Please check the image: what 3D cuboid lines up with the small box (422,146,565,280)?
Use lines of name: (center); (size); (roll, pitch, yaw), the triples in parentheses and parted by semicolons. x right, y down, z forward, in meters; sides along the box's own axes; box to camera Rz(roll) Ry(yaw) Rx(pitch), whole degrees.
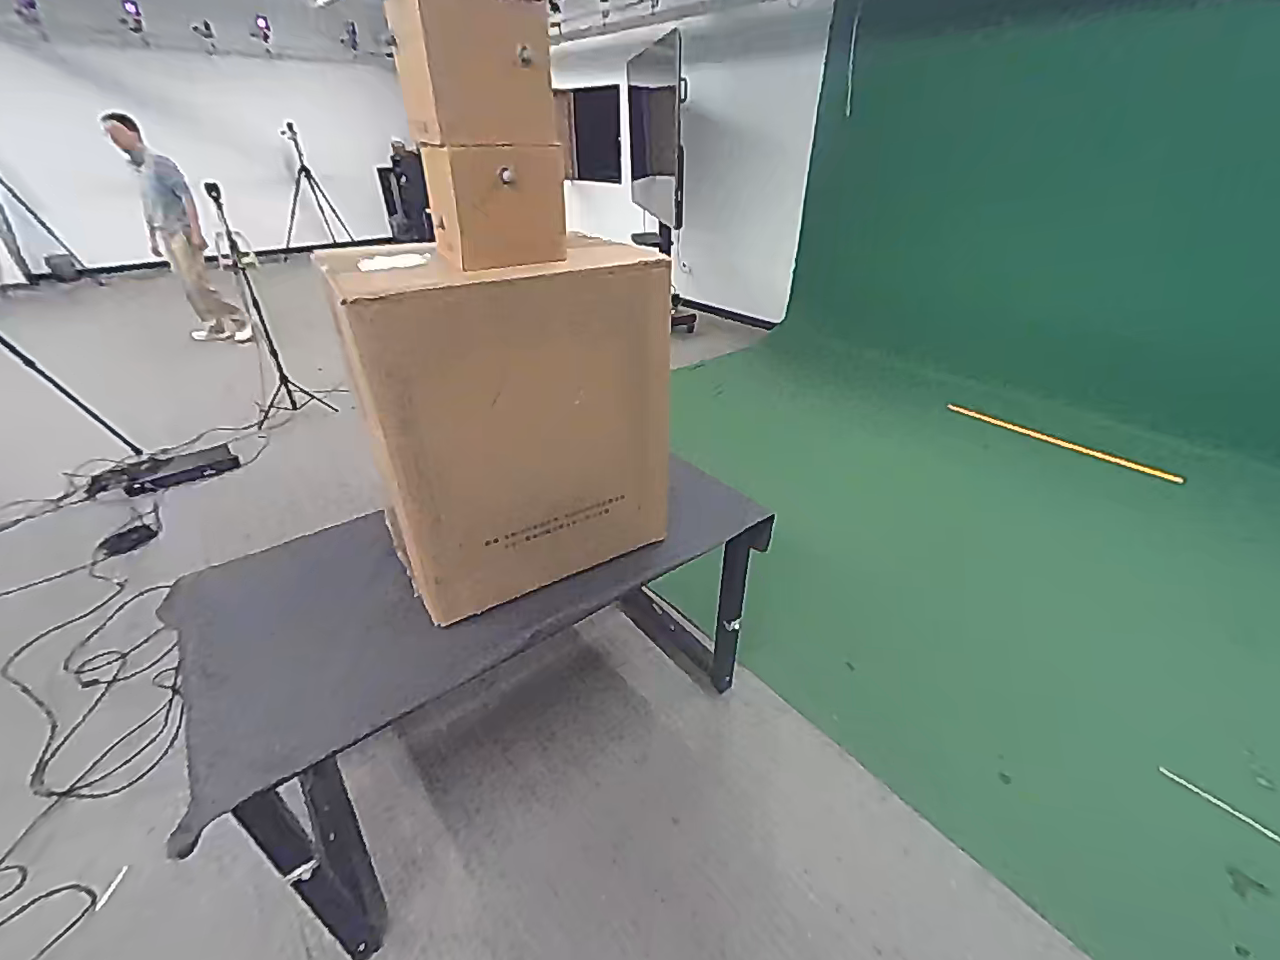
small box: (-0.230, -0.434, 0.873); (0.179, 0.176, 0.168); (-18, 39, -26)
